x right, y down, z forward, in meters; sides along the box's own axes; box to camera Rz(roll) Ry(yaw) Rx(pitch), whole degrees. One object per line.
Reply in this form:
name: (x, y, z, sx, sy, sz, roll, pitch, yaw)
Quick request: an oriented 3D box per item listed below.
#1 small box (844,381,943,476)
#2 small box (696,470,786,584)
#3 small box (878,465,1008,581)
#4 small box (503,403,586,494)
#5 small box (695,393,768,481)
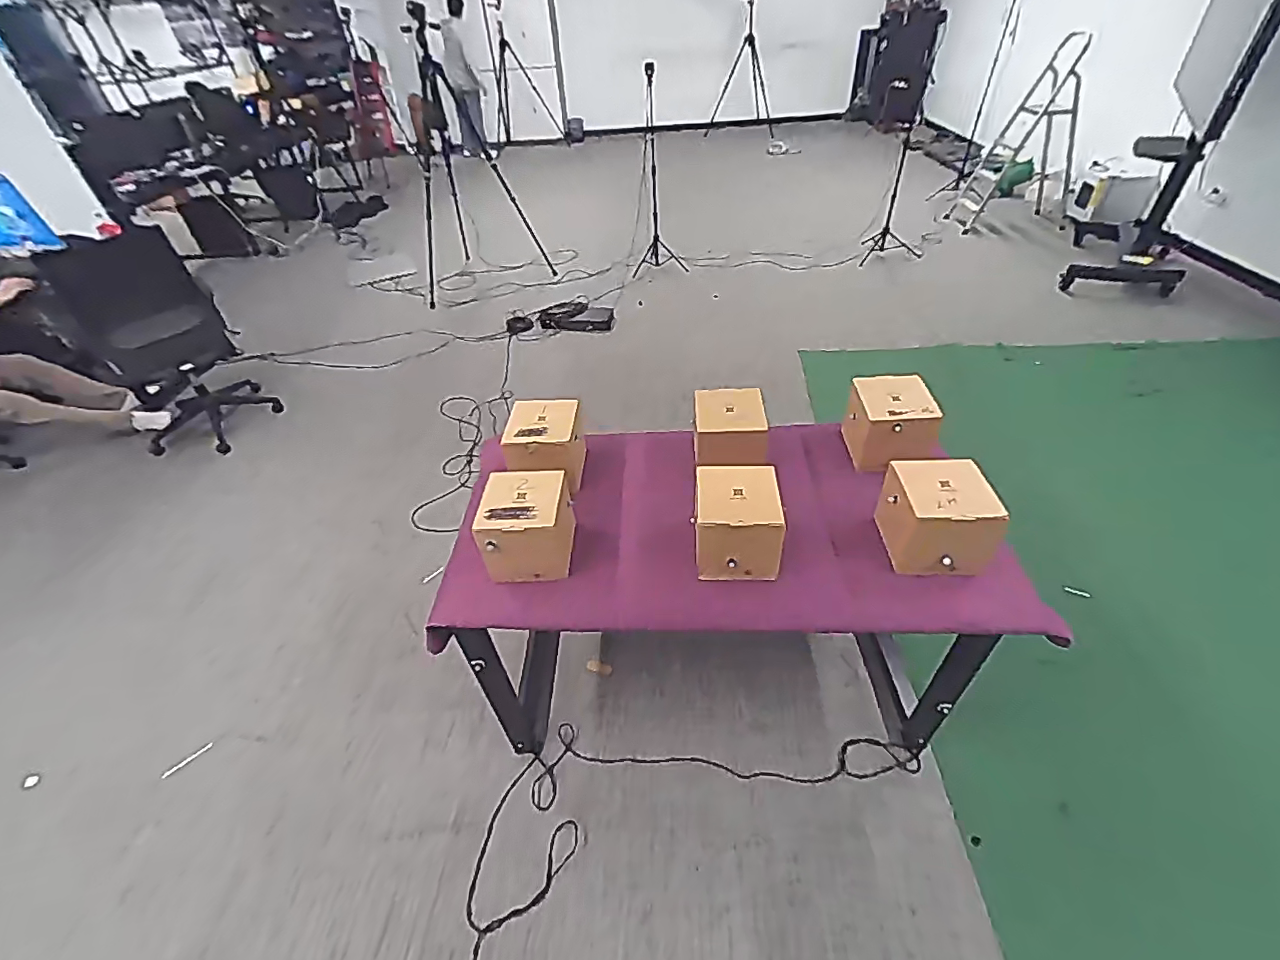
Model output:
small box: (0.622, -0.129, 1.354, 0.168, 0.176, 0.179, -3, 43, 5)
small box: (0.205, 0.098, 1.142, 0.168, 0.176, 0.179, 0, 41, 4)
small box: (0.607, 0.085, 1.114, 0.168, 0.176, 0.179, -1, 40, 6)
small box: (-0.233, -0.077, 1.372, 0.168, 0.176, 0.179, 0, 42, 4)
small box: (0.224, -0.103, 1.366, 0.168, 0.176, 0.179, -1, 43, 5)
